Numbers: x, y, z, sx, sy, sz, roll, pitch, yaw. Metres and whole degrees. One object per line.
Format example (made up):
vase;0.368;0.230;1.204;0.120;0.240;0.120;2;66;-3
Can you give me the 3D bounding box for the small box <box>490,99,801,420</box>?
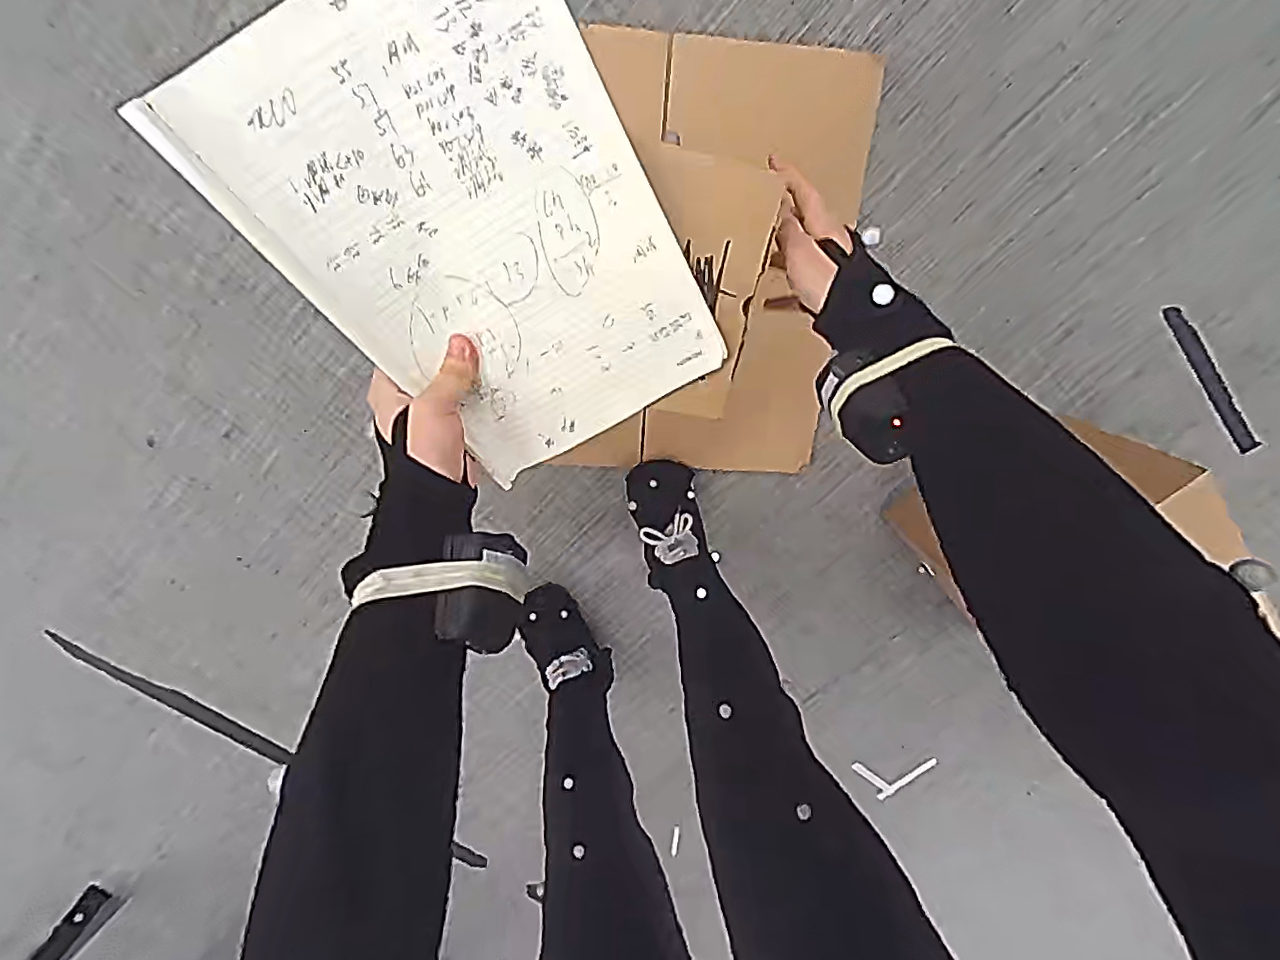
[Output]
small box;-0.007;-0.162;0.422;0.179;0.176;0.168;10;112;-9
